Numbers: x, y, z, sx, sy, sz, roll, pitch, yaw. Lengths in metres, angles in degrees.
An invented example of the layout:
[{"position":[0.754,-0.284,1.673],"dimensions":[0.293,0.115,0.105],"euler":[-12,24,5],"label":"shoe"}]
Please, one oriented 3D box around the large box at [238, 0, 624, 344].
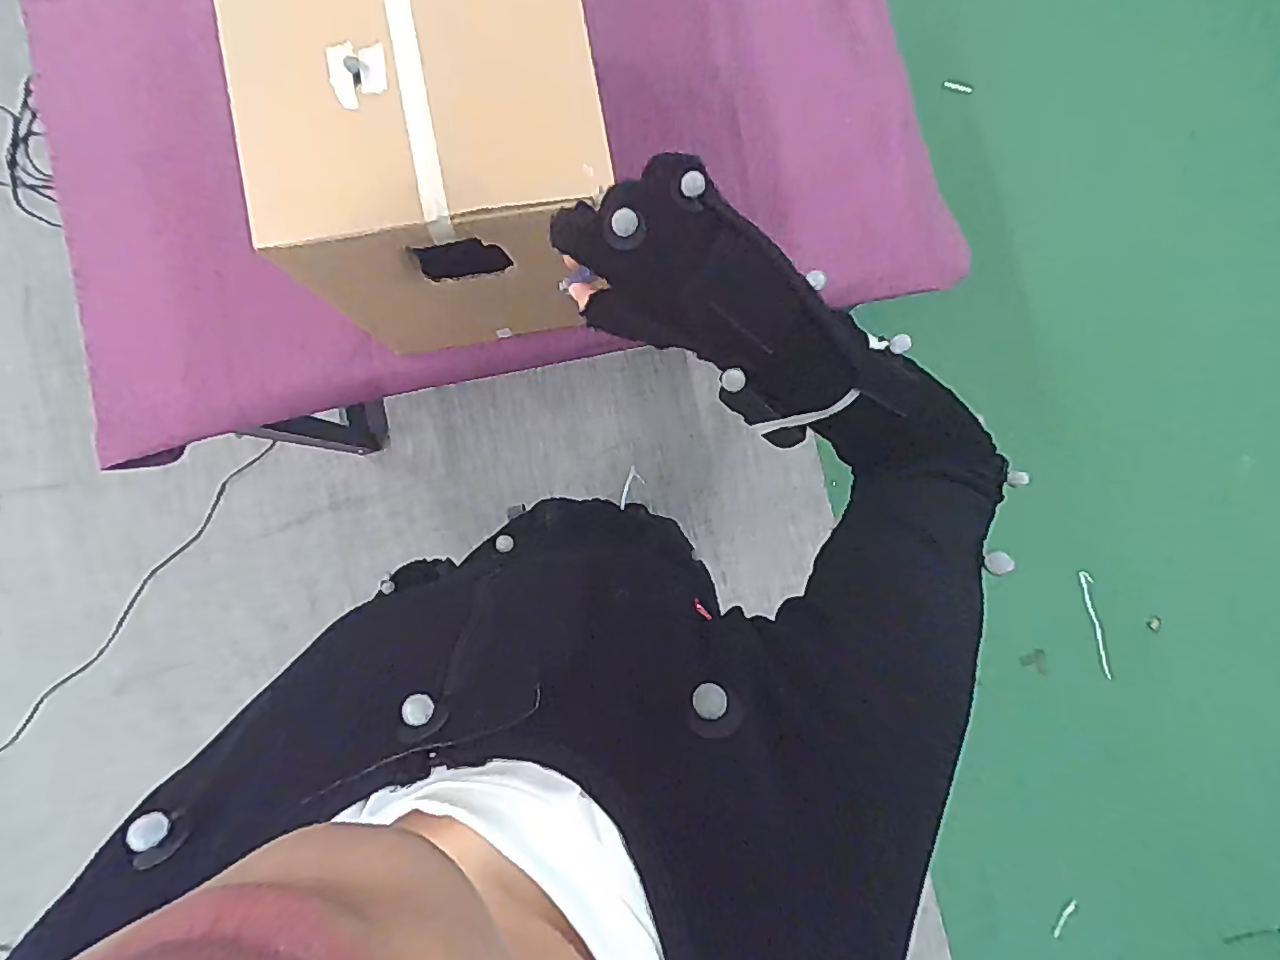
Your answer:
[{"position":[-0.212,-0.417,0.637],"dimensions":[0.320,0.320,0.408],"euler":[-10,89,-4],"label":"large box"}]
